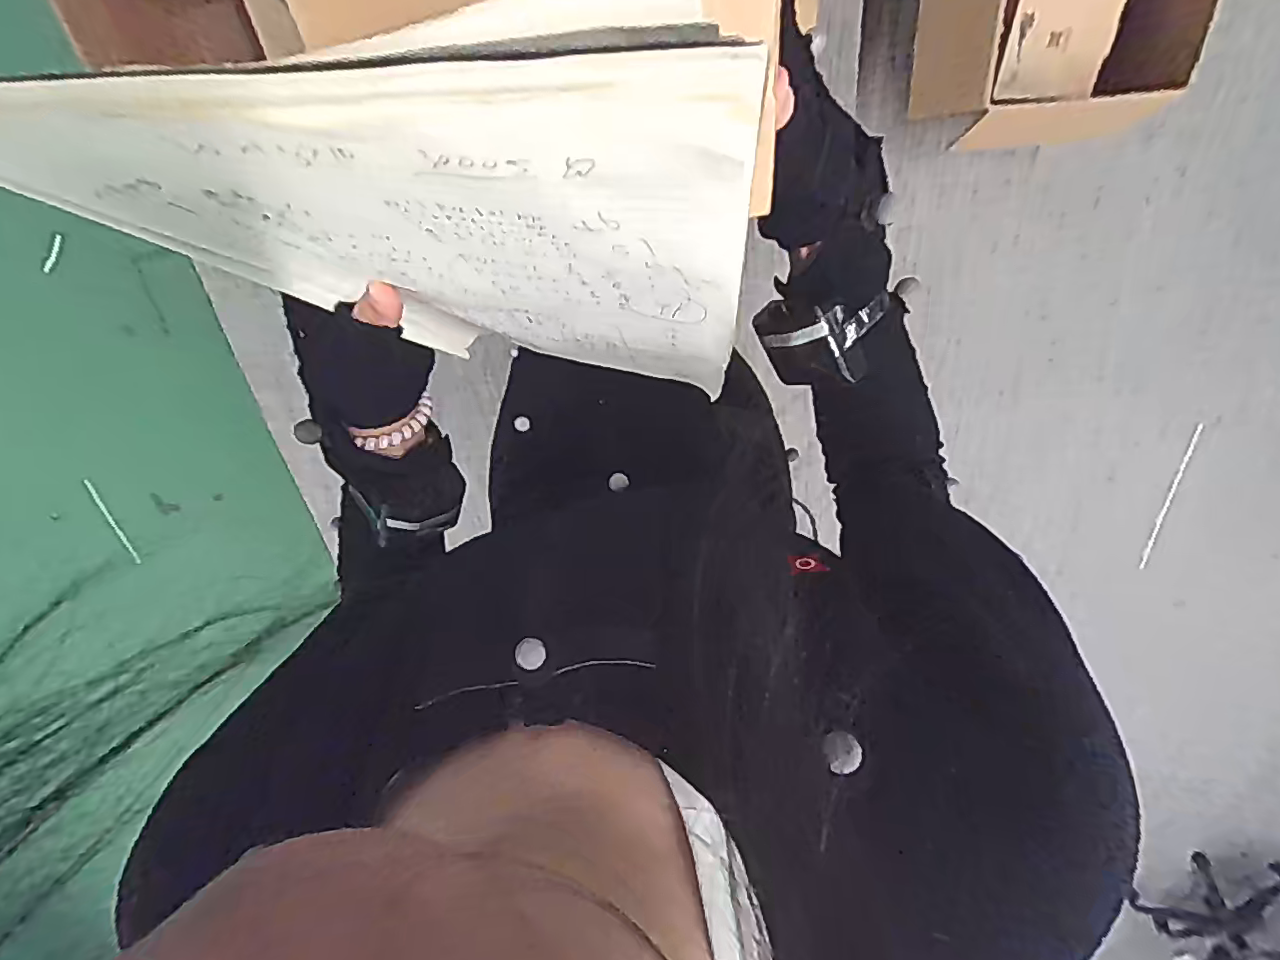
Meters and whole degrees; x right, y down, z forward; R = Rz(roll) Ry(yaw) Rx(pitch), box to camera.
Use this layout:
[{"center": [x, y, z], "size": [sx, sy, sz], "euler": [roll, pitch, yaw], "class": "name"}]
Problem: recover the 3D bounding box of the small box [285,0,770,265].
[{"center": [-0.044, -0.222, 0.238], "size": [0.168, 0.176, 0.179], "euler": [-9, 132, 0], "class": "small box"}]
